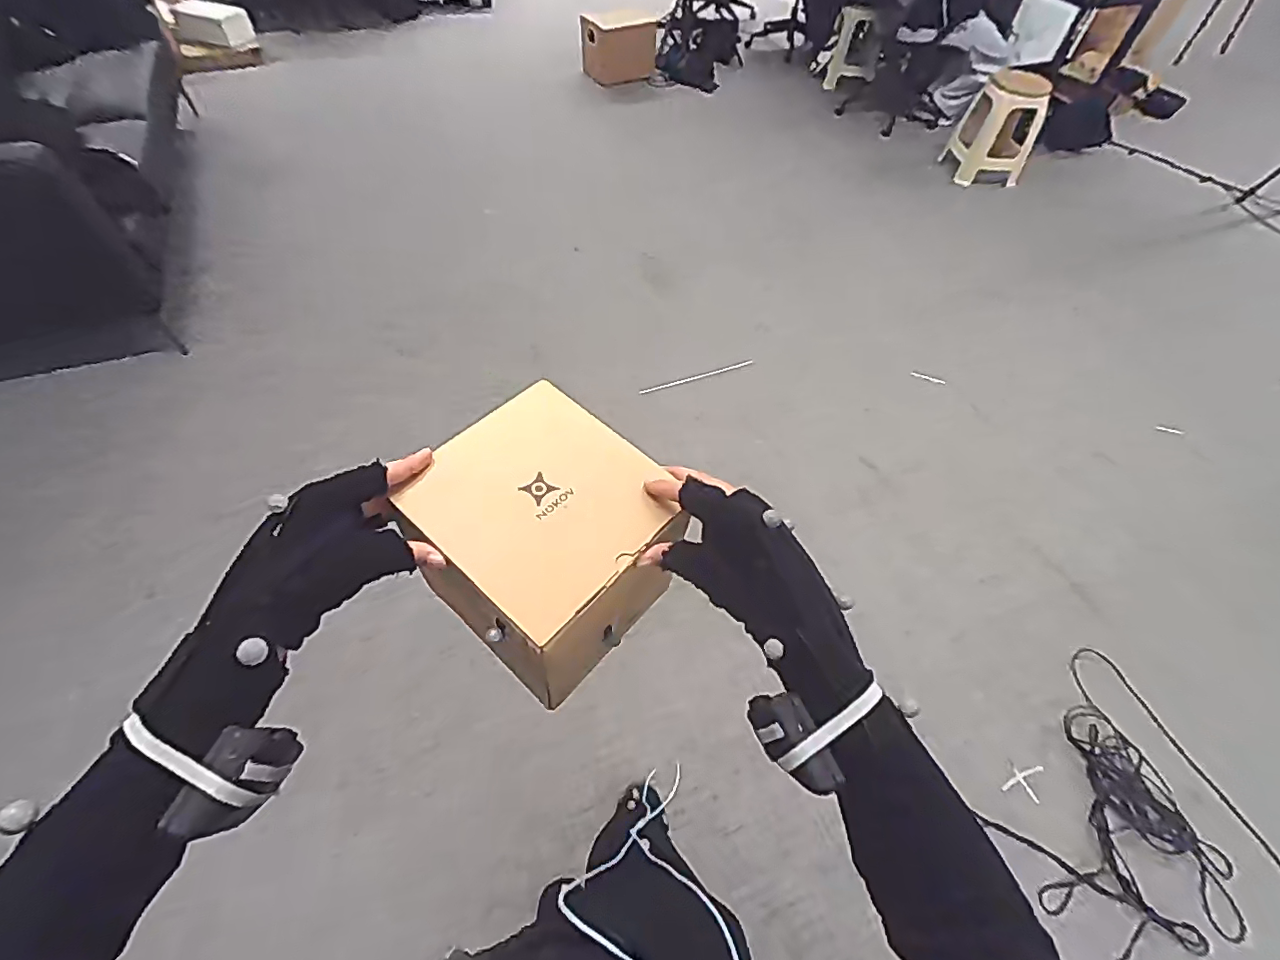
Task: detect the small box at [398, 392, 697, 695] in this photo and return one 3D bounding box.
[{"bbox_3d":[-0.078,0.061,0.485,0.179,0.176,0.168,38,59,18],"label":"small box"}]
